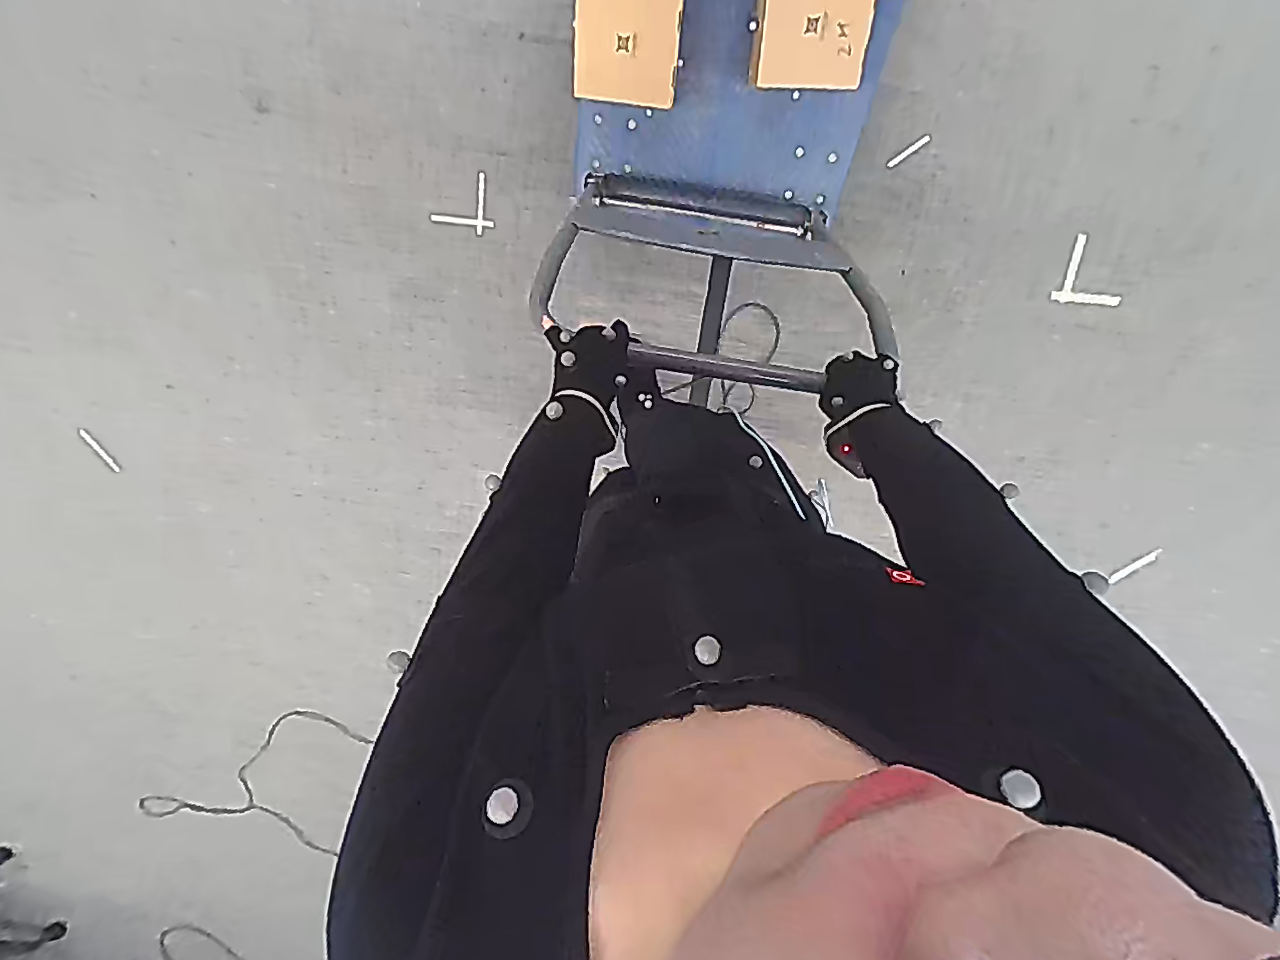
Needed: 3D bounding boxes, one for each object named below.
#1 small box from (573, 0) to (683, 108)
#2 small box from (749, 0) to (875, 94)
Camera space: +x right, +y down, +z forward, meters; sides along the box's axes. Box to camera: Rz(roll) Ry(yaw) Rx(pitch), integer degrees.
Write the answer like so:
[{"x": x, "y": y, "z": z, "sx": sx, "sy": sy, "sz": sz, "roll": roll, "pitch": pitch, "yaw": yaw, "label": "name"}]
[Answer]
[{"x": -0.021, "y": -0.777, "z": 0.972, "sx": 0.179, "sy": 0.176, "sz": 0.168, "roll": 5, "pitch": 126, "yaw": -2, "label": "small box"}, {"x": 0.291, "y": -0.779, "z": 0.943, "sx": 0.179, "sy": 0.176, "sz": 0.168, "roll": 4, "pitch": 126, "yaw": 2, "label": "small box"}]
